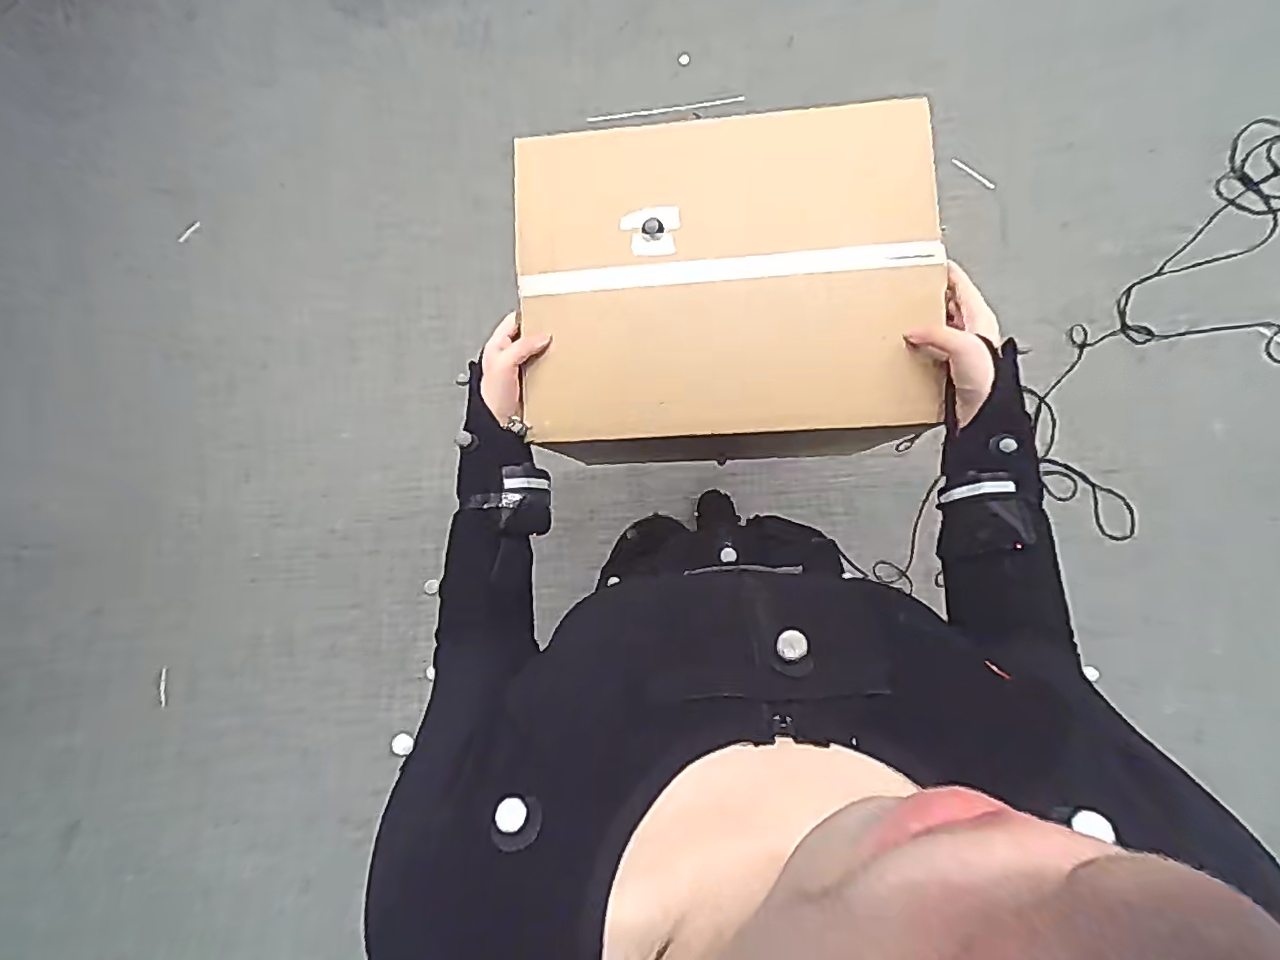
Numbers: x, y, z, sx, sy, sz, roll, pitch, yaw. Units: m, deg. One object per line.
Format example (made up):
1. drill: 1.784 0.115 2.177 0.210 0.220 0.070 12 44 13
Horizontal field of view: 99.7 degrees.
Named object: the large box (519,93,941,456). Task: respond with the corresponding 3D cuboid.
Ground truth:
1. large box: 0.097 -0.203 0.682 0.408 0.320 0.320 -3 87 7
